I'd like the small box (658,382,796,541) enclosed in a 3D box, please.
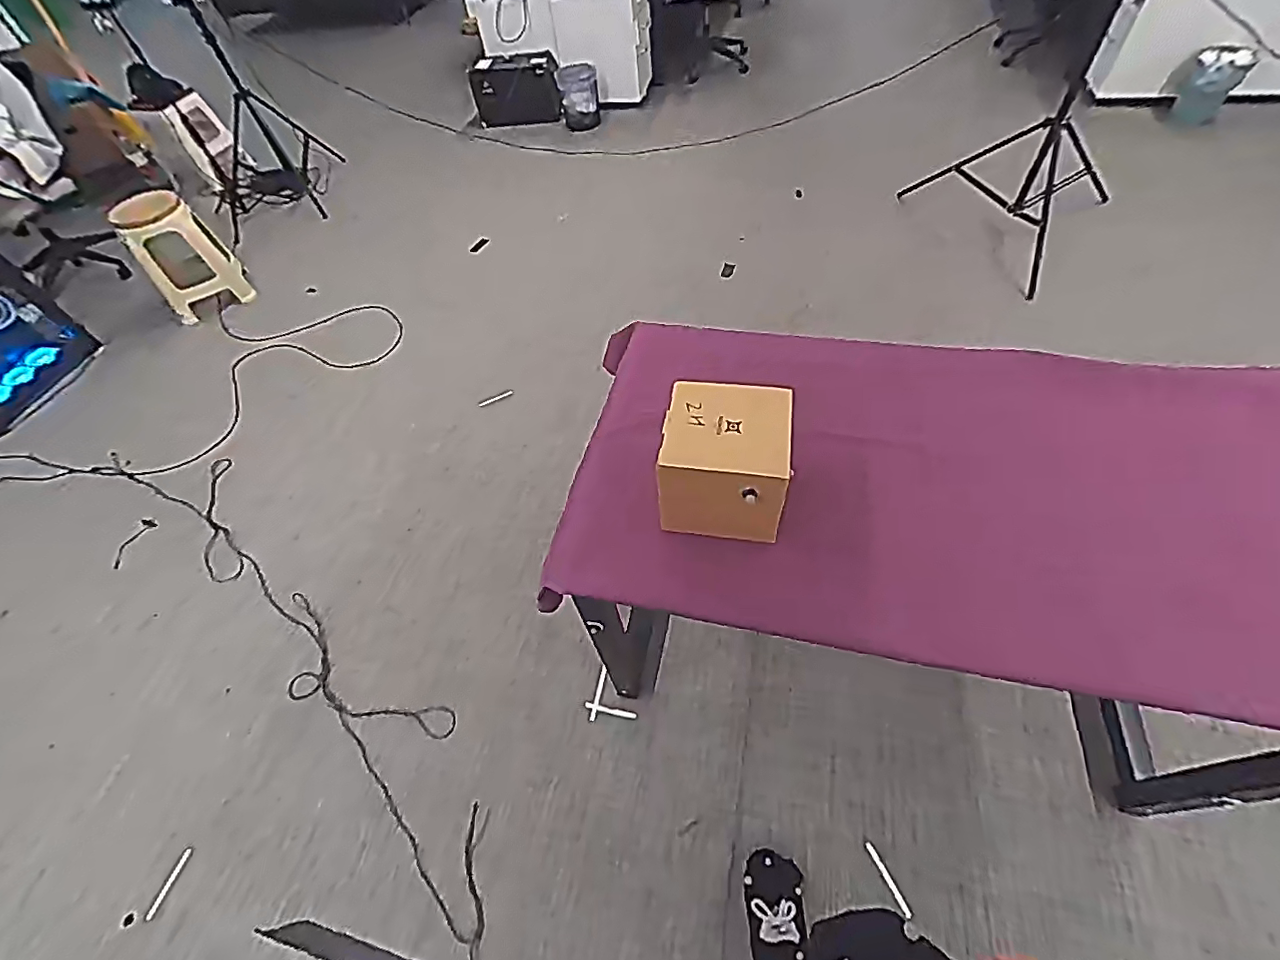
[{"bbox_3d":[0.130,-0.024,0.812,0.179,0.176,0.168,6,53,11],"label":"small box"}]
